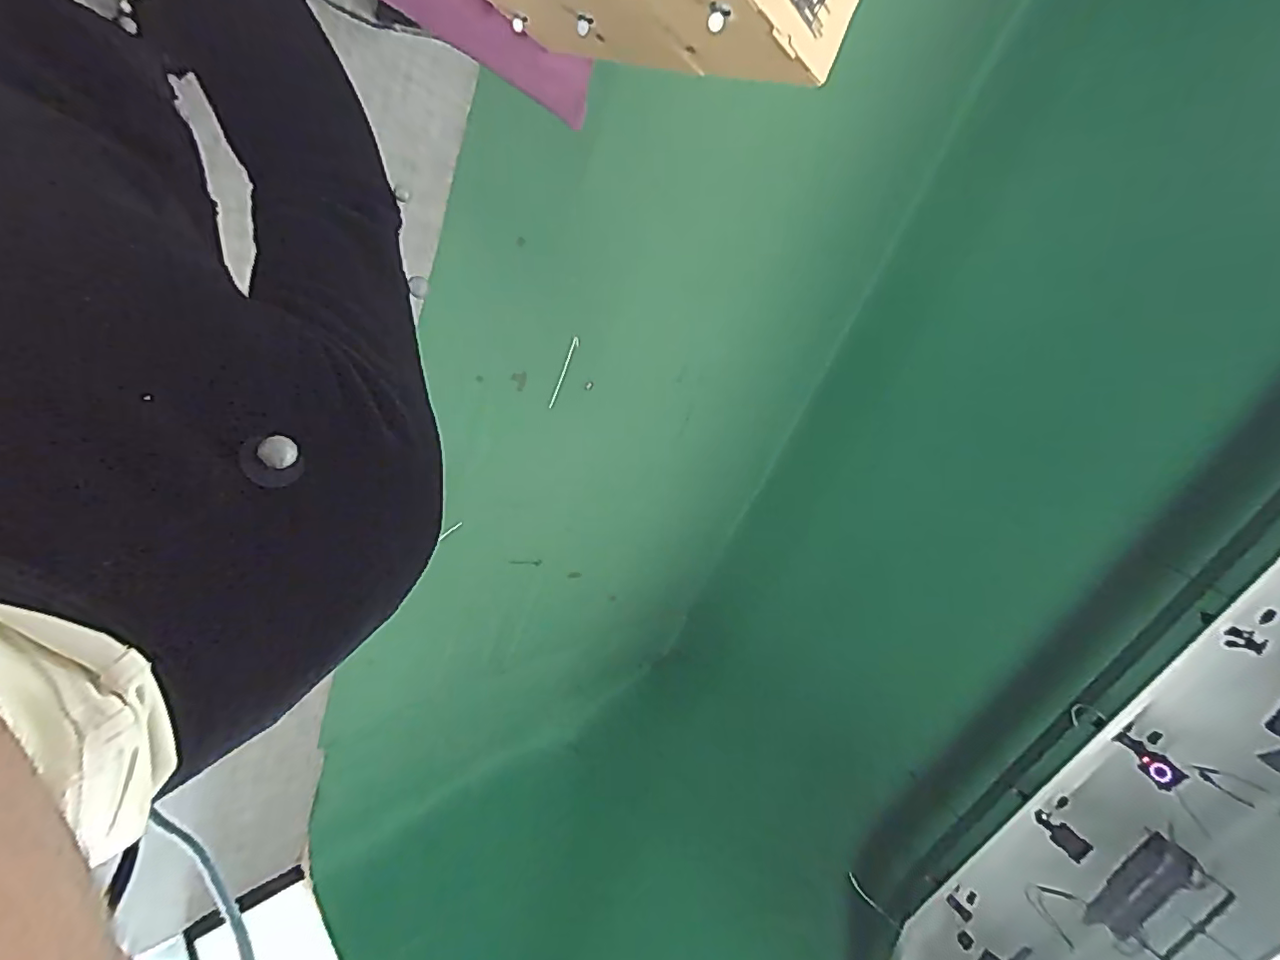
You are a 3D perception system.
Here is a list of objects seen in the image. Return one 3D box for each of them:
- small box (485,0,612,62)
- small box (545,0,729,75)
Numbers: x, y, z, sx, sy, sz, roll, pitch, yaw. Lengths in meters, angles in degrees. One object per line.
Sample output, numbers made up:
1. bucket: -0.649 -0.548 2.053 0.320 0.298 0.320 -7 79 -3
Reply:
1. small box: -0.114 -0.696 0.706 0.179 0.176 0.168 0 120 -51
2. small box: 0.001 -0.615 0.620 0.168 0.176 0.179 1 120 -51
